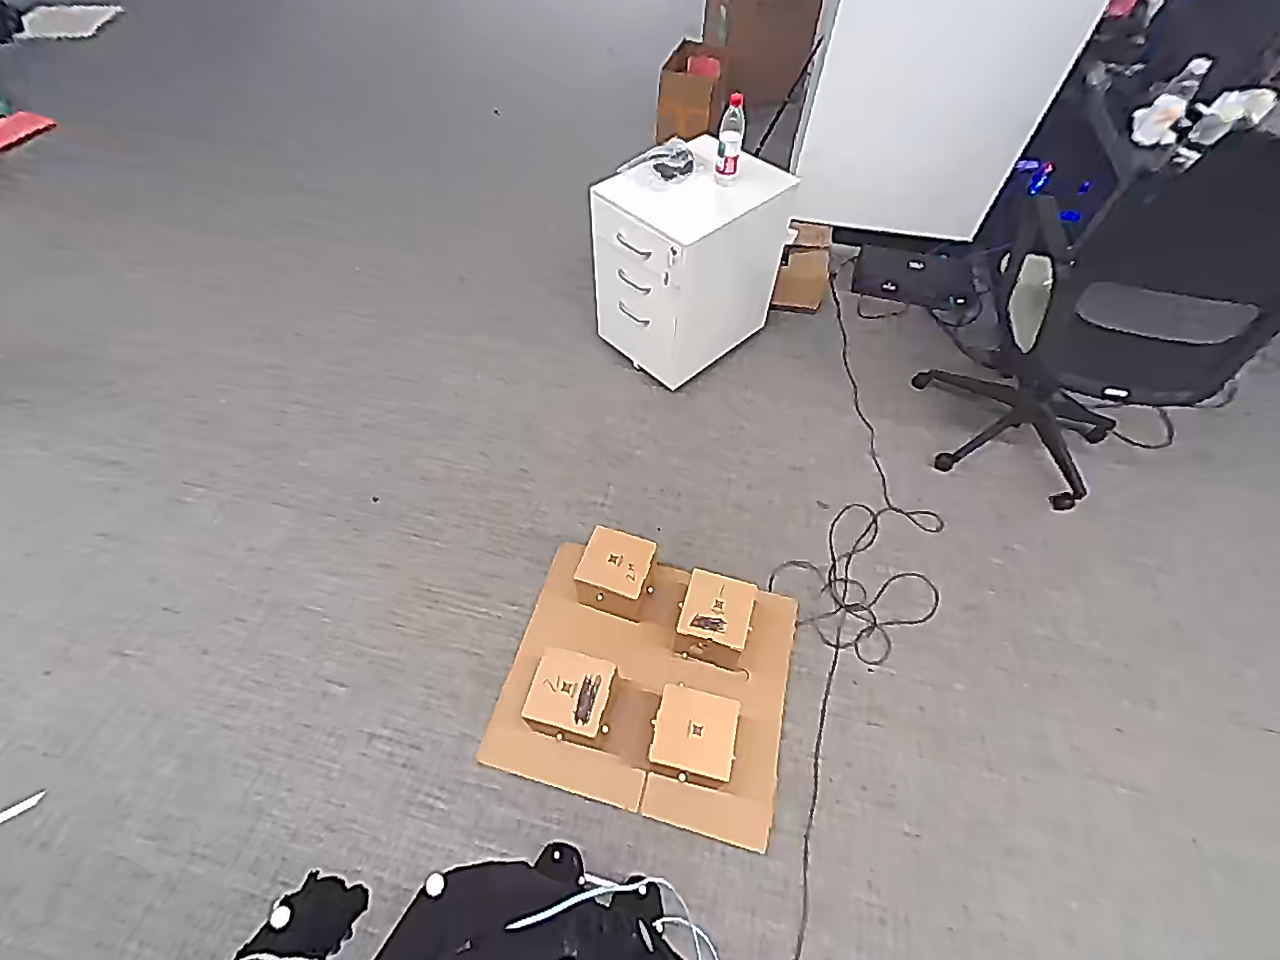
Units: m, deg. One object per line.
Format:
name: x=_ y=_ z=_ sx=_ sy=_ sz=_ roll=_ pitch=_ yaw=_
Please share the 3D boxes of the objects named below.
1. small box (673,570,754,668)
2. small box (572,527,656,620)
small box: x=0.186 y=0.363 z=1.393 sx=0.168 sy=0.176 sz=0.179 roll=14 pitch=56 yaw=11
small box: x=-0.066 y=0.257 z=1.457 sx=0.179 sy=0.176 sz=0.168 roll=17 pitch=58 yaw=10
